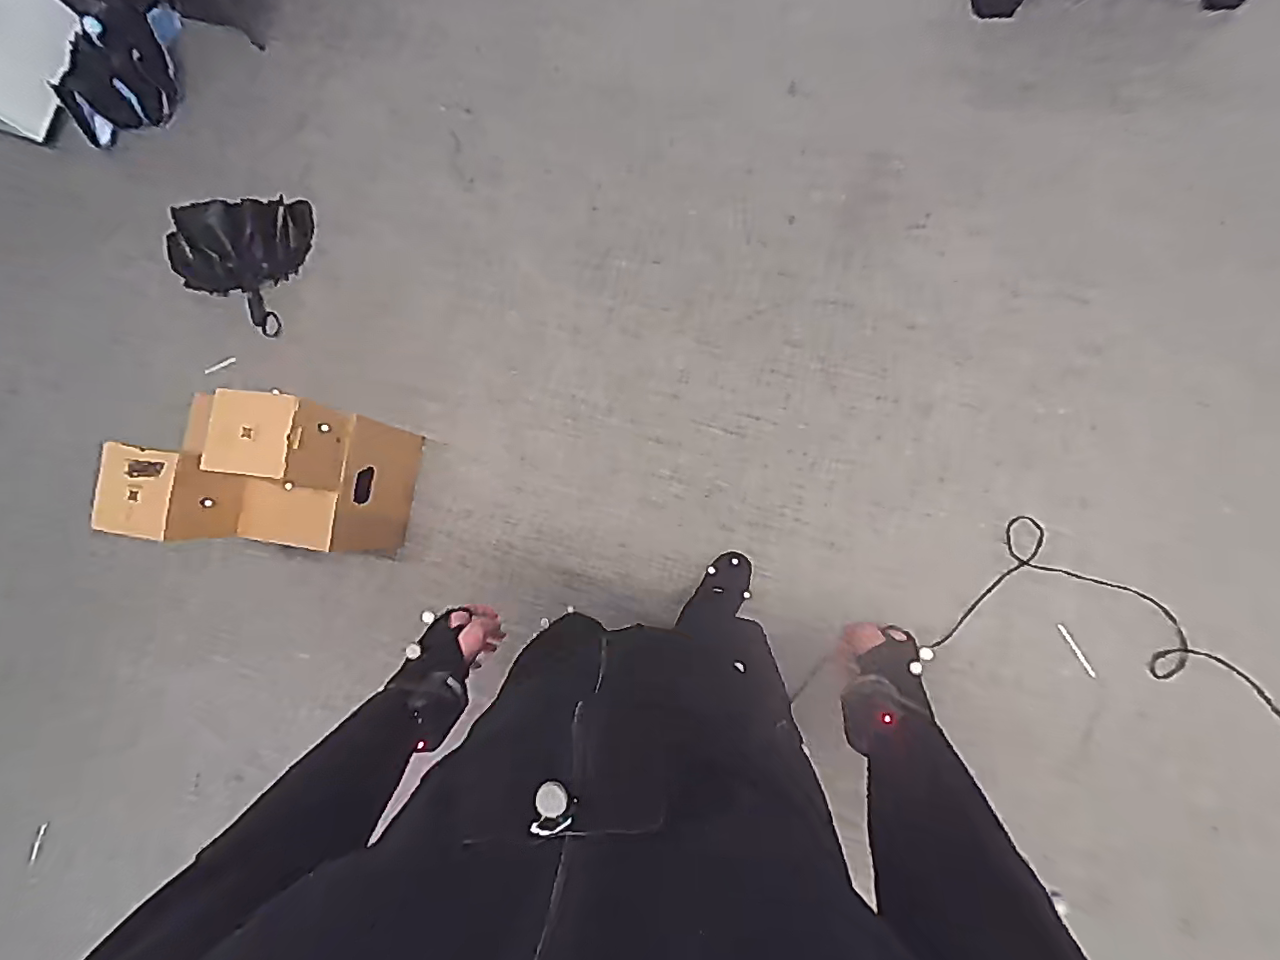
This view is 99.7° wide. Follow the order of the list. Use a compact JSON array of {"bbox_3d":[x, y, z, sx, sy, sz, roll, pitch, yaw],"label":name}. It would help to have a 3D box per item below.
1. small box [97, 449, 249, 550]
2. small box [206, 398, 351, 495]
[{"bbox_3d":[-0.967,0.041,1.138,0.168,0.176,0.179,10,89,7],"label":"small box"},{"bbox_3d":[-0.739,-0.063,1.126,0.179,0.176,0.168,5,82,7],"label":"small box"}]
